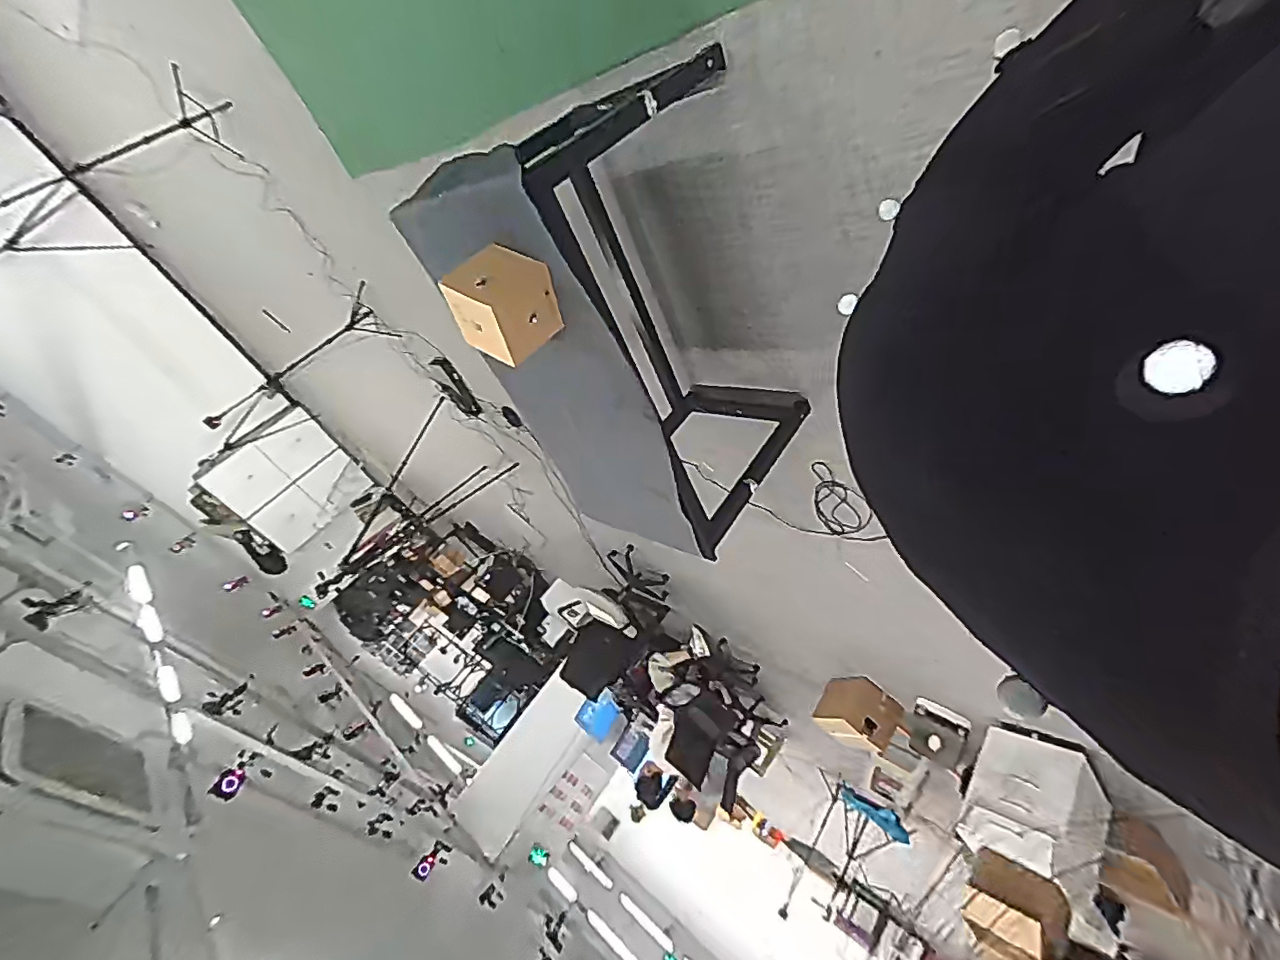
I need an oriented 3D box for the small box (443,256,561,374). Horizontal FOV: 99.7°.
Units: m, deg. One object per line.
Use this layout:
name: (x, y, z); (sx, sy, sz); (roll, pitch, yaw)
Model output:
small box: (-0.296, -0.376, 1.213); (0.179, 0.176, 0.168); (30, 153, 26)
